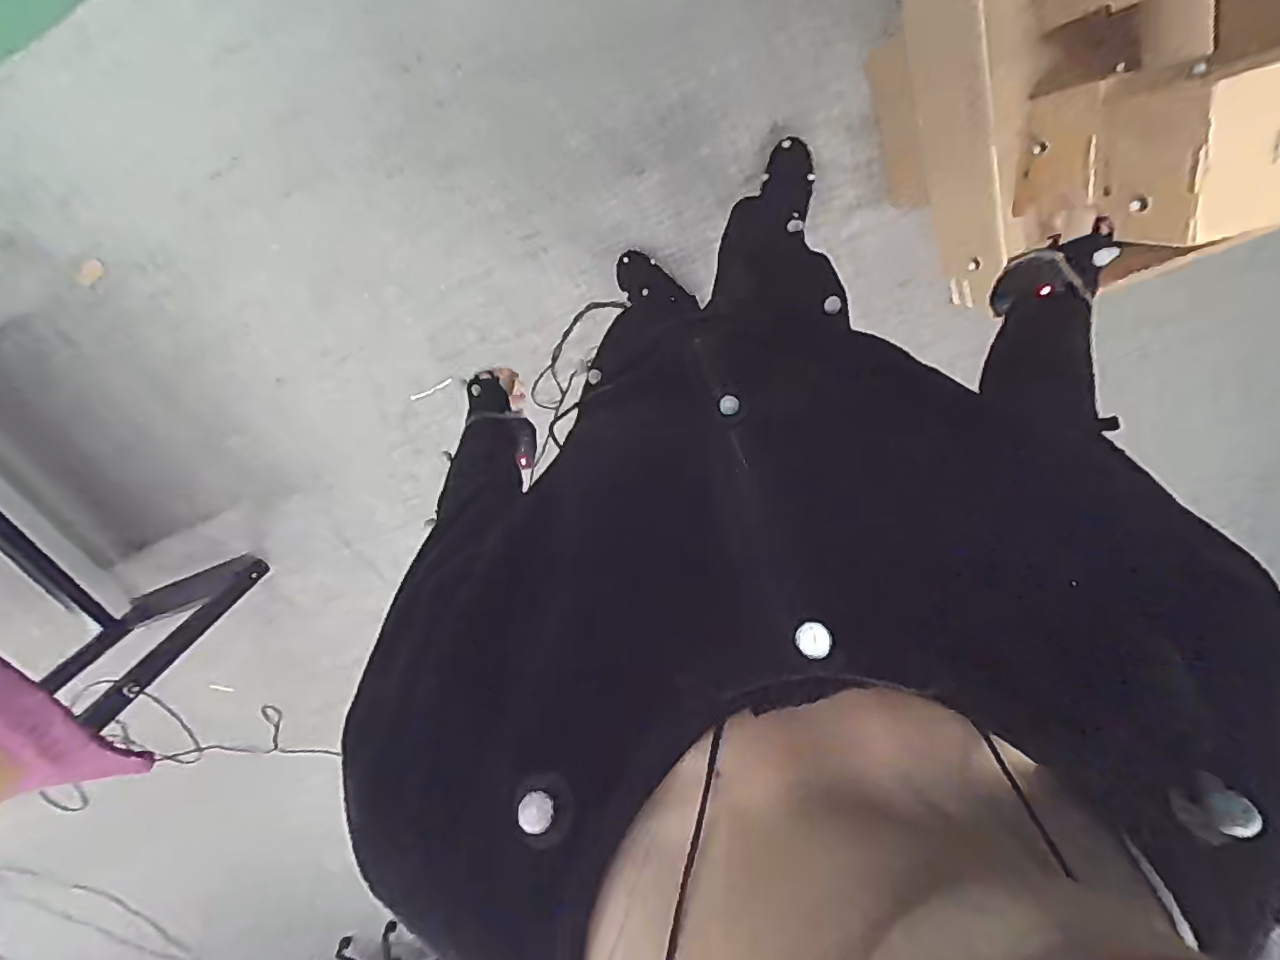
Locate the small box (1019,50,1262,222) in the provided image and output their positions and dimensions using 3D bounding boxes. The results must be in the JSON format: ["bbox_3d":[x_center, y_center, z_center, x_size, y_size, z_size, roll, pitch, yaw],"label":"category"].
[{"bbox_3d":[0.691,-0.480,0.774,0.179,0.176,0.168,-9,117,8],"label":"small box"}]

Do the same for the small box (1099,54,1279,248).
[{"bbox_3d":[0.694,-0.388,0.638,0.179,0.176,0.168,-14,117,10],"label":"small box"}]

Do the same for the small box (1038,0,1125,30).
[{"bbox_3d":[0.623,-0.702,0.657,0.179,0.176,0.168,-22,114,14],"label":"small box"}]
